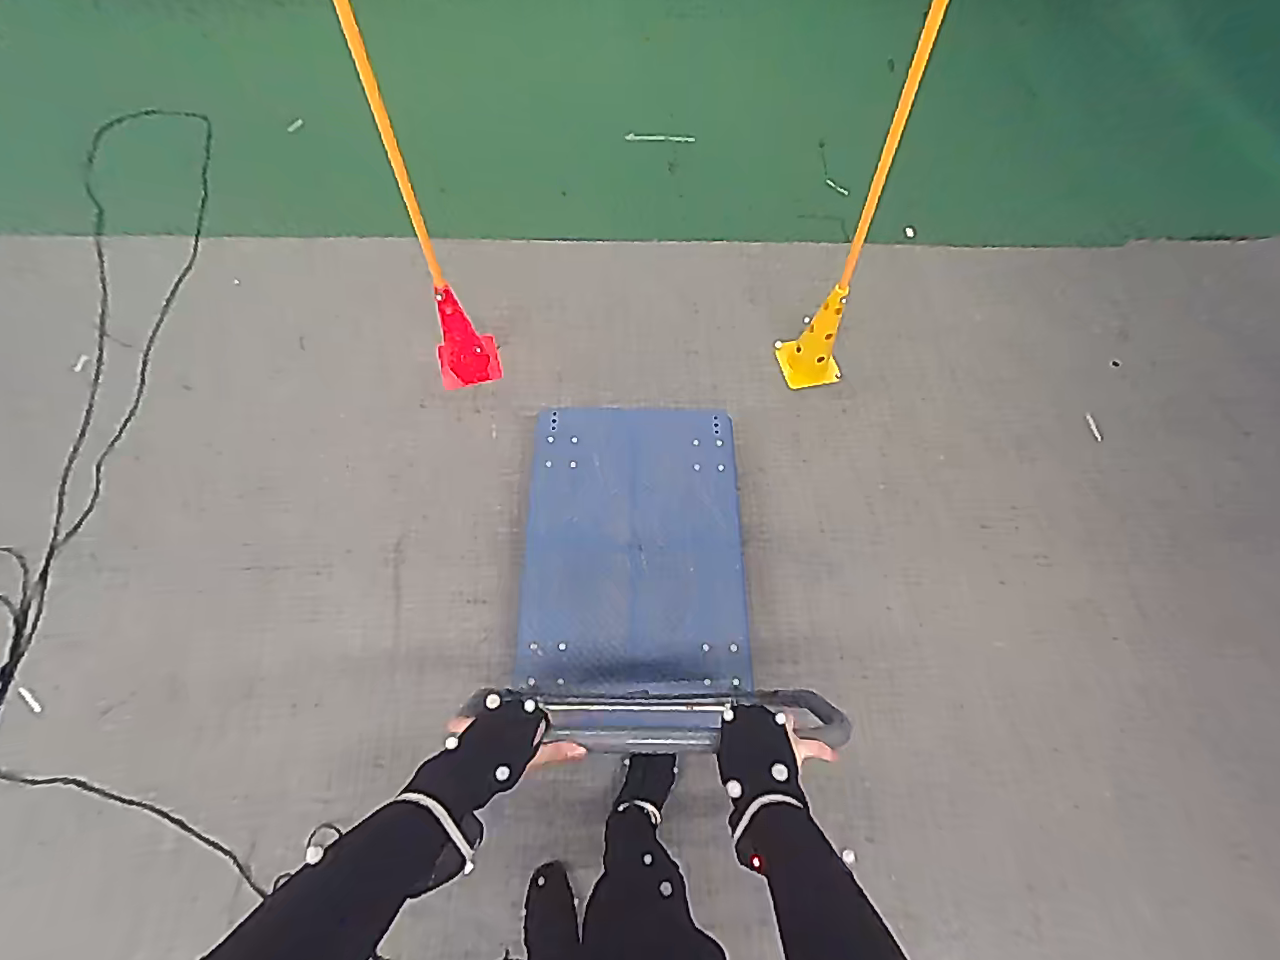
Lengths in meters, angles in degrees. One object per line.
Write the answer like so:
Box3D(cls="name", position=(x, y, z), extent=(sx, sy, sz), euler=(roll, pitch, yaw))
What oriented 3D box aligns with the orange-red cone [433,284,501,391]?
Box3D(cls="orange-red cone", position=(-0.585, -0.475, 1.718), extent=(0.199, 0.360, 0.198), euler=(-14, 65, -7))
